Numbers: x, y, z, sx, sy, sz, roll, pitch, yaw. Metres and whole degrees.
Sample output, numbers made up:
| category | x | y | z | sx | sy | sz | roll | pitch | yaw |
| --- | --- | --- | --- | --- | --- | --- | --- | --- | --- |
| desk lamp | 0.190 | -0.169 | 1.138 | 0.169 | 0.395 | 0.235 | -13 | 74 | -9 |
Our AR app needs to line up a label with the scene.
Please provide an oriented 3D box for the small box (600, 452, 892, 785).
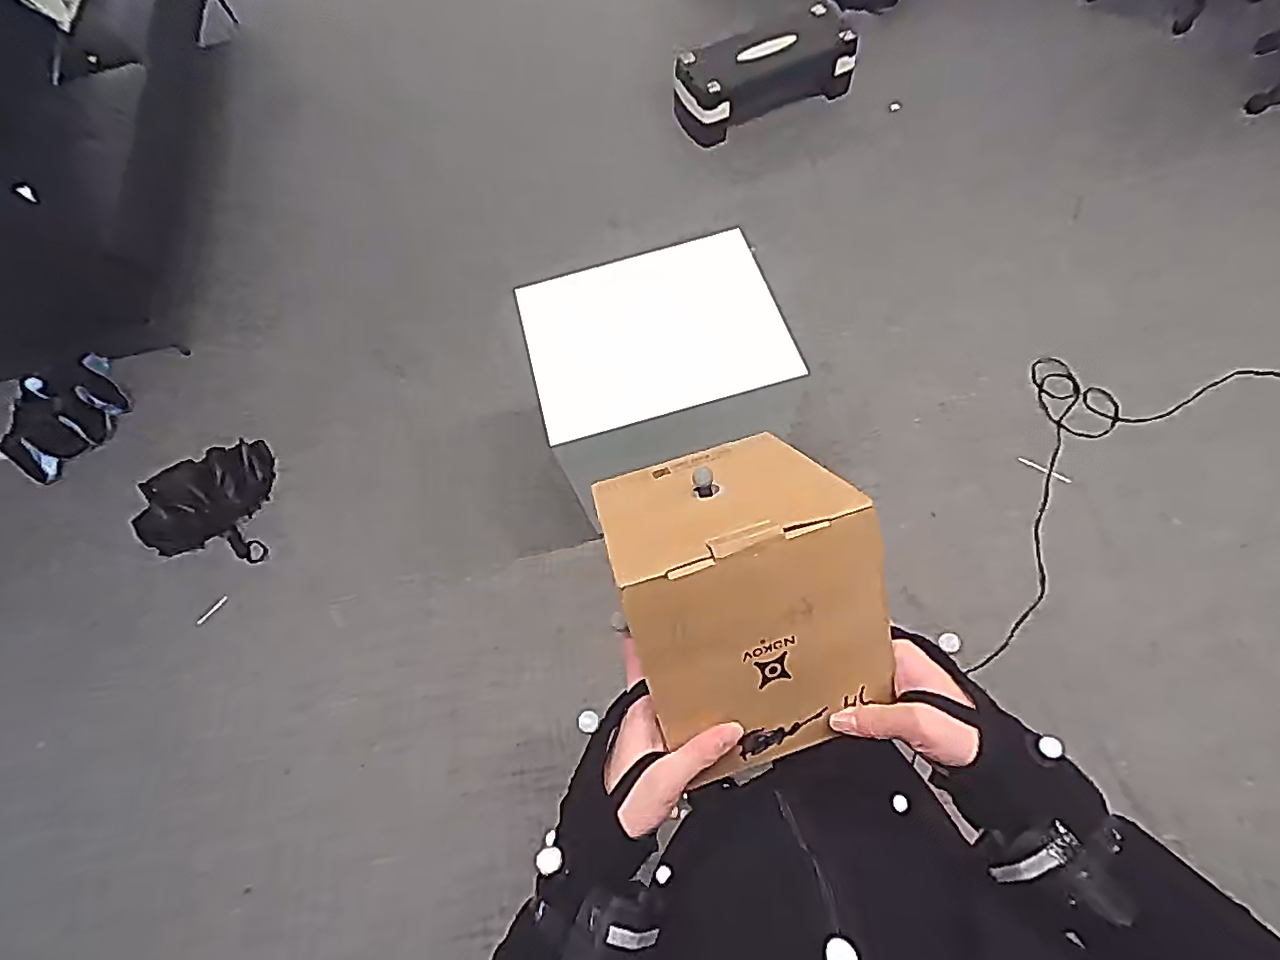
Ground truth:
| category | x | y | z | sx | sy | sz | roll | pitch | yaw |
| --- | --- | --- | --- | --- | --- | --- | --- | --- | --- |
| small box | 0.072 | 0.089 | 0.430 | 0.168 | 0.179 | 0.176 | -17 | 22 | -4 |
